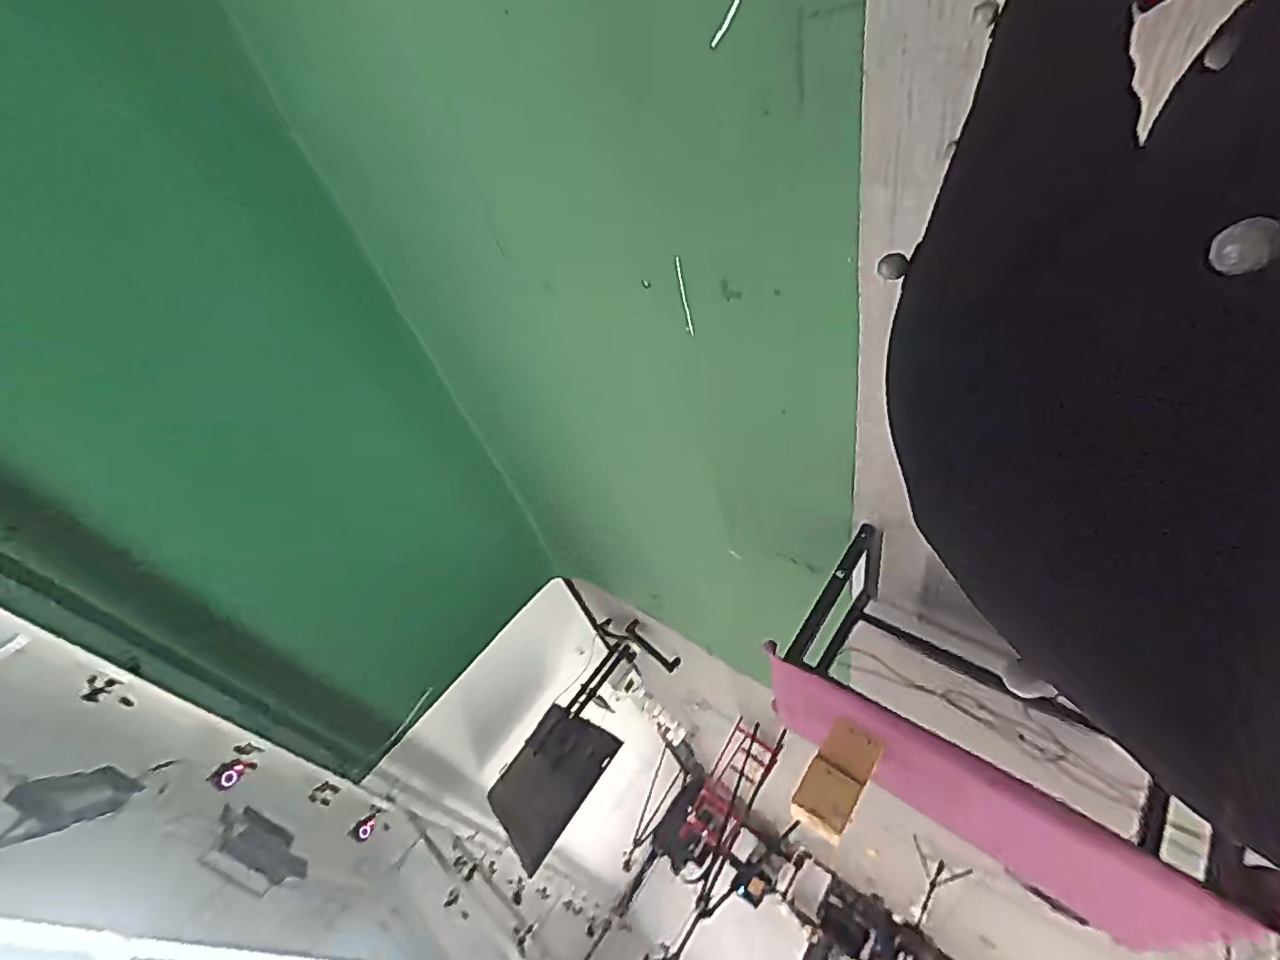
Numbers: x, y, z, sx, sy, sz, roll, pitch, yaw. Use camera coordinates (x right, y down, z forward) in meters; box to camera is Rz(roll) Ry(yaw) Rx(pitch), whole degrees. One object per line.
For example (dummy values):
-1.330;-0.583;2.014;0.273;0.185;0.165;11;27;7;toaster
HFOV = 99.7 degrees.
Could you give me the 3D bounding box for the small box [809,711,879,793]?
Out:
0.702;0.929;1.858;0.168;0.176;0.179;27;150;31;small box
